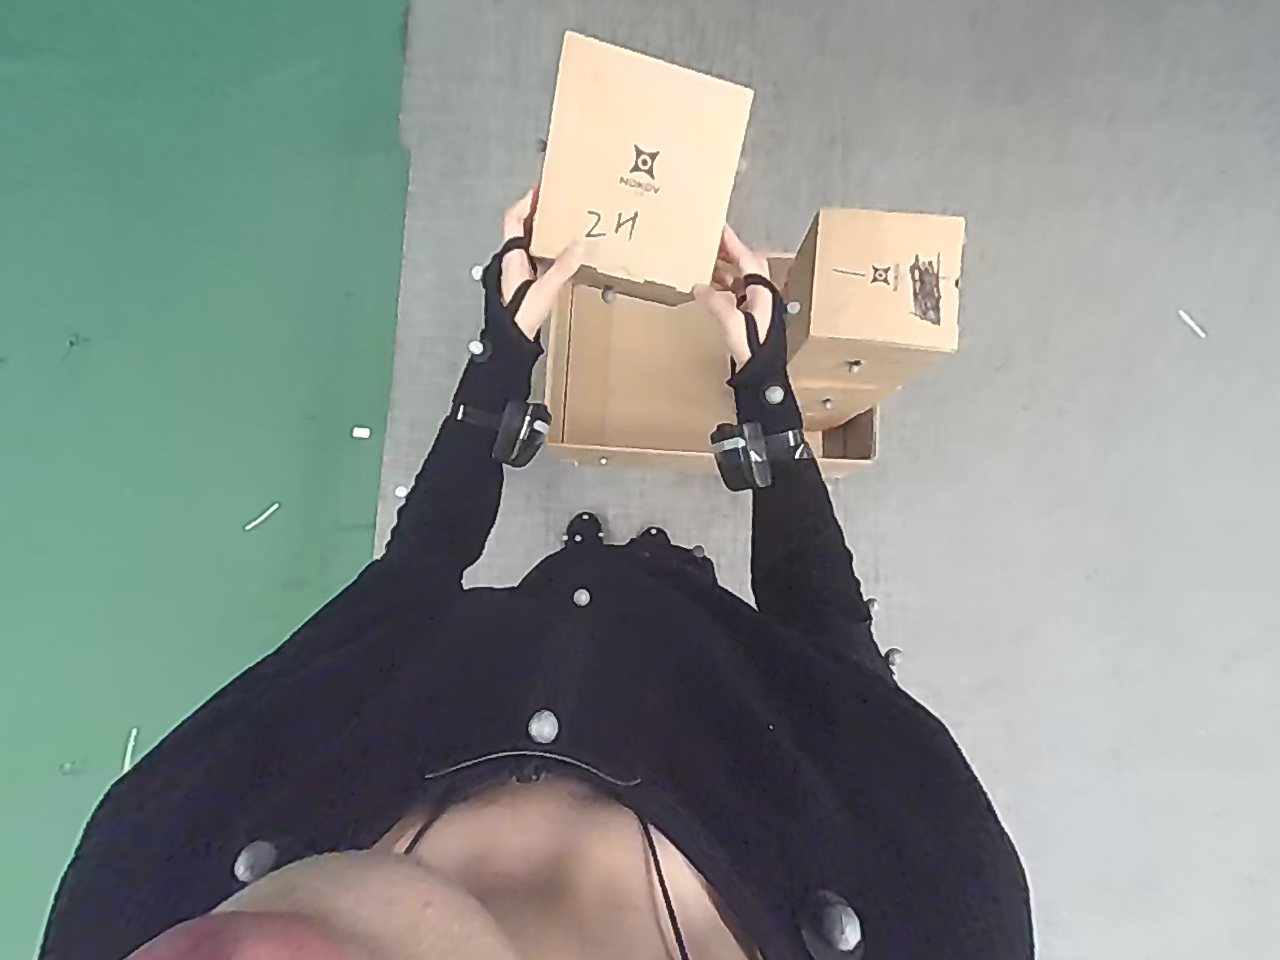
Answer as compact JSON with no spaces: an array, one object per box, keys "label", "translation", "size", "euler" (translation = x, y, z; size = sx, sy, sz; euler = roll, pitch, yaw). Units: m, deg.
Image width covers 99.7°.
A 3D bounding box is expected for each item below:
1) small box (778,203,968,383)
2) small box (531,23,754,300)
[{"label":"small box","translation":[0.295,-0.234,0.716],"size":[0.179,0.176,0.168],"euler":[7,85,3]},{"label":"small box","translation":[-0.009,-0.290,0.541],"size":[0.168,0.176,0.179],"euler":[11,104,-10]}]
